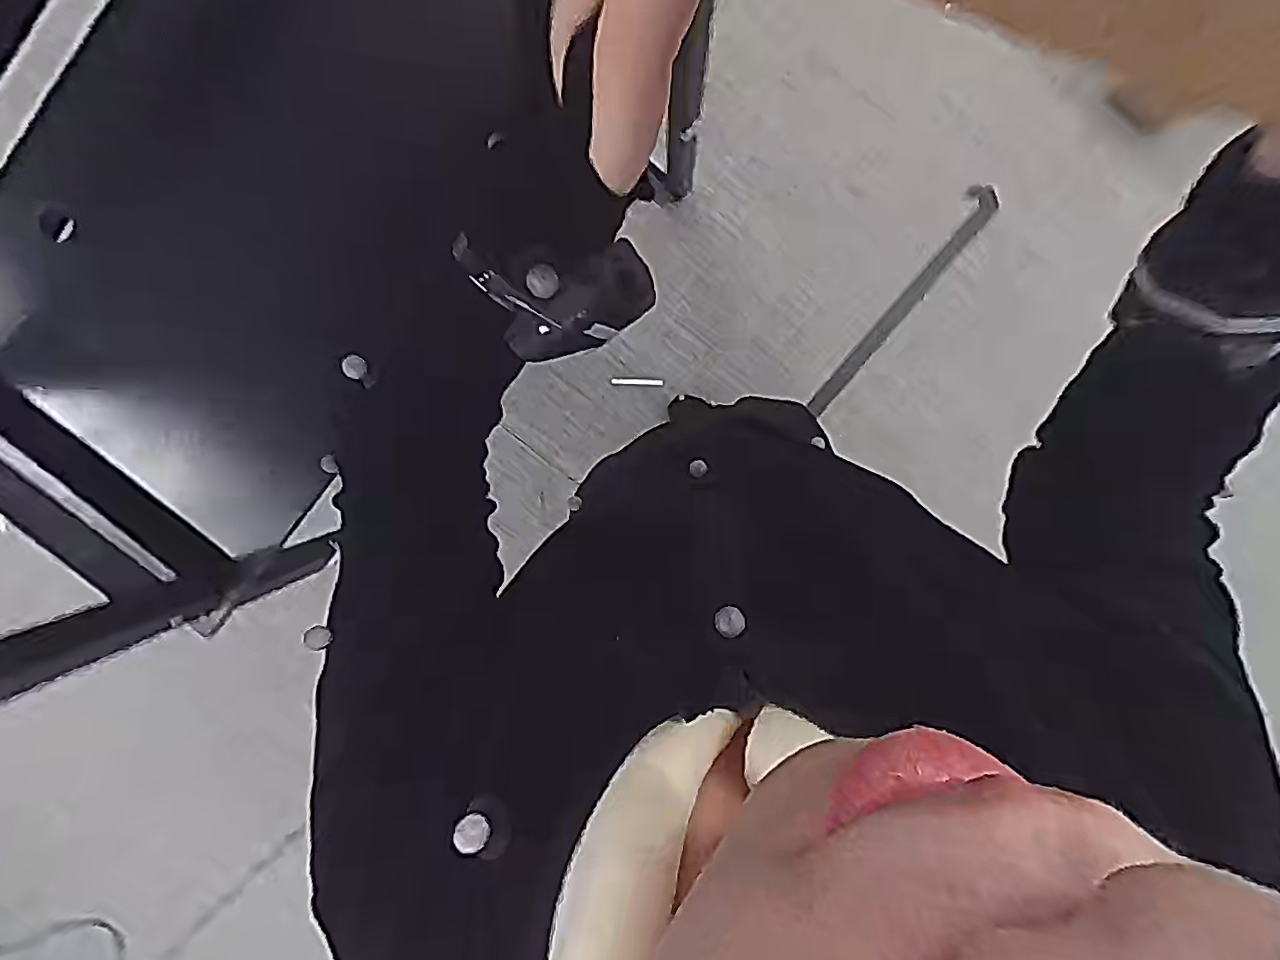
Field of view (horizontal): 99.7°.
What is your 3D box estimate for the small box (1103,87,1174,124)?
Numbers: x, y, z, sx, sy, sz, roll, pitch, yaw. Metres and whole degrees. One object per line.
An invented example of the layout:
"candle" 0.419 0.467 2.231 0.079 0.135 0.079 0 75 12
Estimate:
"small box" 1.260 -0.979 1.261 0.179 0.176 0.168 37 96 -3
